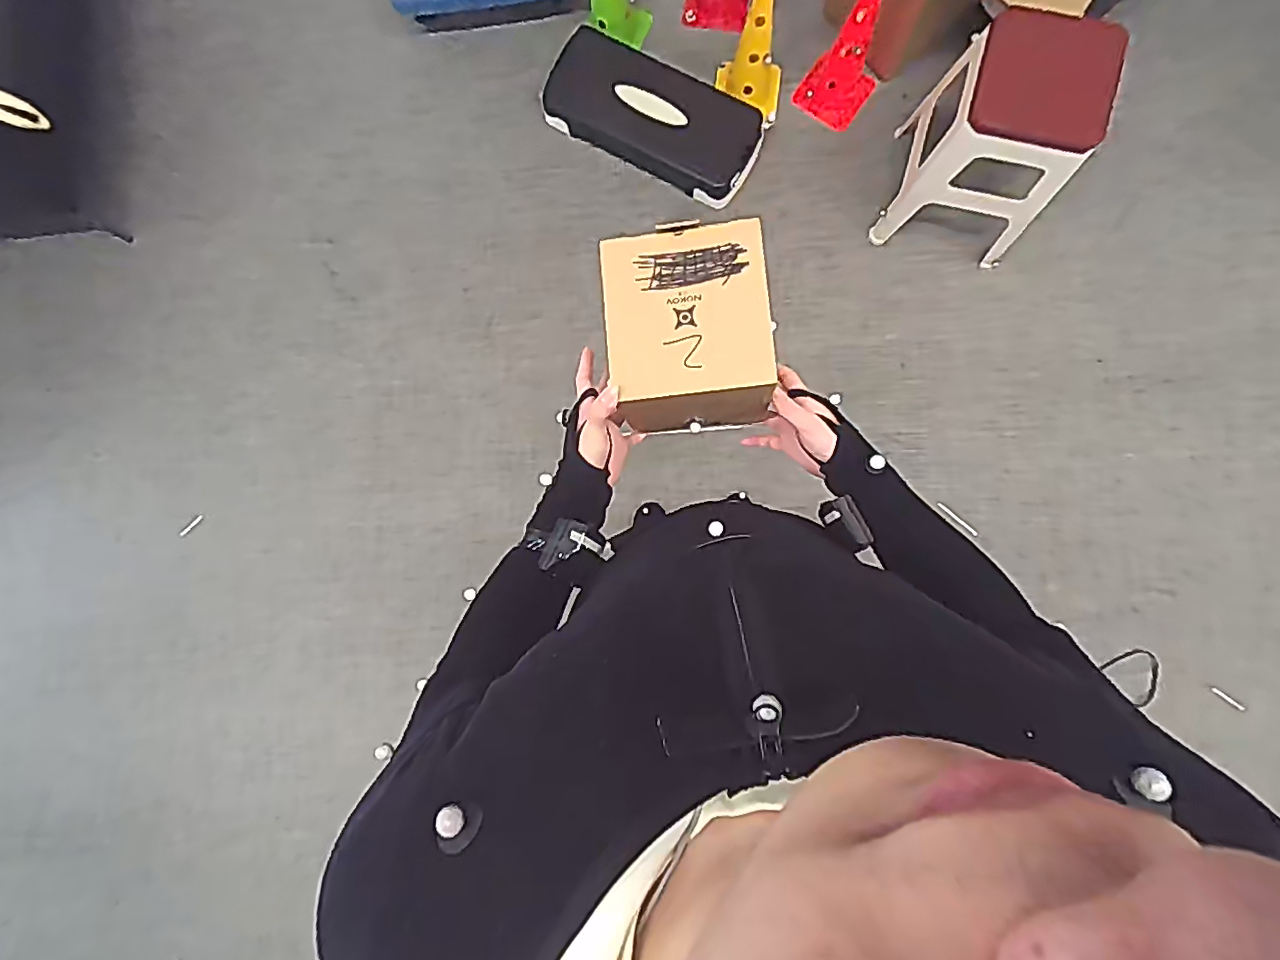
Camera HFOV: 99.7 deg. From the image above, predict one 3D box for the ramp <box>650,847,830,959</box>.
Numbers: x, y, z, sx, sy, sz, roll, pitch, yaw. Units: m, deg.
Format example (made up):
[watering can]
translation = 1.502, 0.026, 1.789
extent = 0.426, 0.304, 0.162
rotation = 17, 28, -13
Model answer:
[ramp]
translation = 0.294, 1.561, 1.462
extent = 0.509, 0.206, 0.991
rotation = -6, 86, 5
